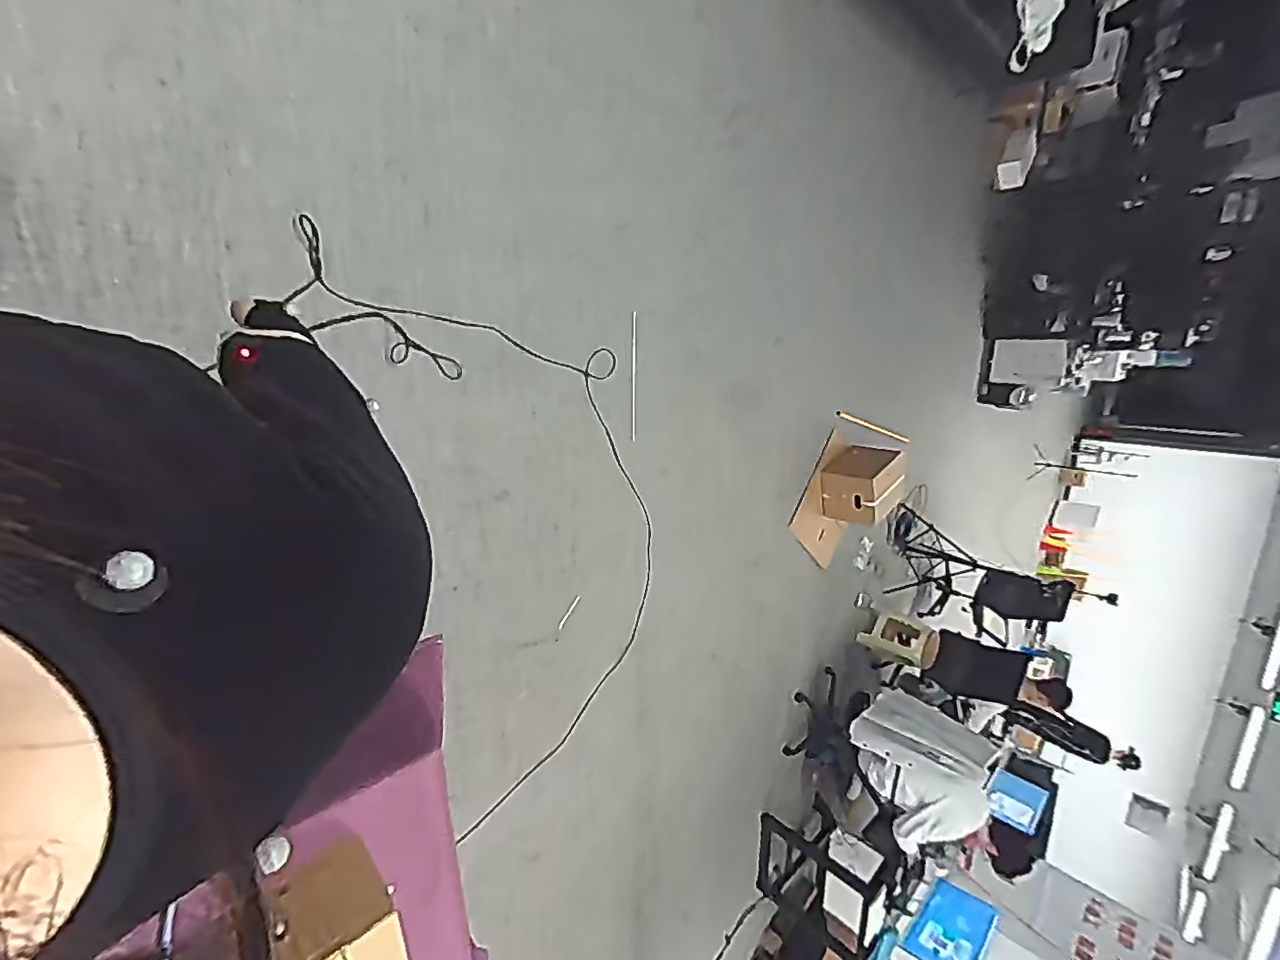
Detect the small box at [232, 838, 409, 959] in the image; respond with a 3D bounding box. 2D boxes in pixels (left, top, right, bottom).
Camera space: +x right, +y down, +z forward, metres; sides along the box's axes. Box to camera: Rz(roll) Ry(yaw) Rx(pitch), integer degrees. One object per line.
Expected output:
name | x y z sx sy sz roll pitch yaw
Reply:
small box | -0.439 0.643 0.749 0.168 0.176 0.179 -17 113 -41
